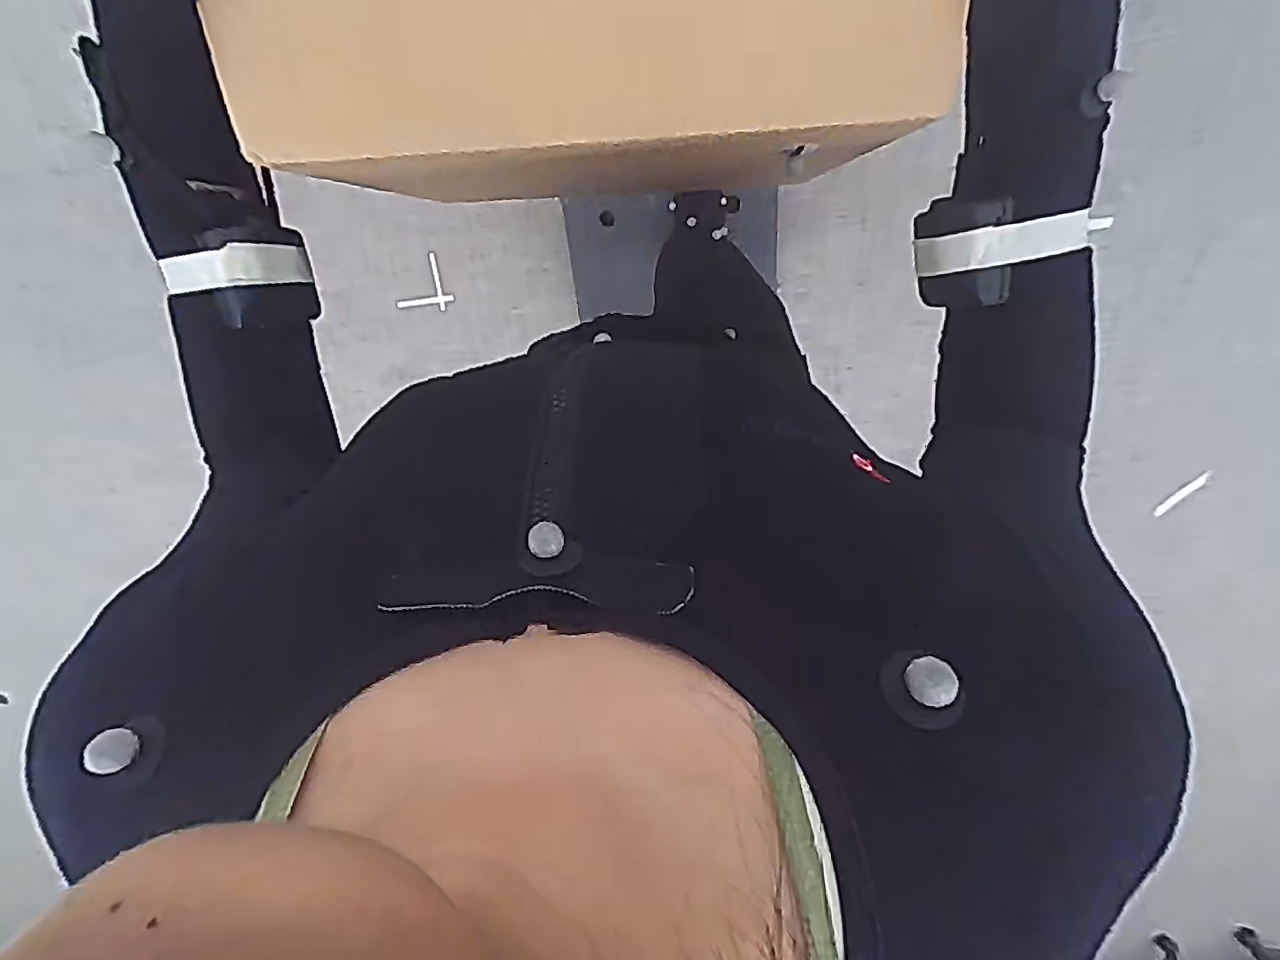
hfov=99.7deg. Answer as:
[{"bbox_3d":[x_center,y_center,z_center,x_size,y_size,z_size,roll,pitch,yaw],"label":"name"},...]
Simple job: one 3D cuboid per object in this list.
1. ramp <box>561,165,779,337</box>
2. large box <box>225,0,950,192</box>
[{"bbox_3d":[0.049,-0.813,1.133,0.509,0.206,0.991,-5,111,5],"label":"ramp"},{"bbox_3d":[-0.031,-0.406,0.395,0.408,0.320,0.320,-2,113,3],"label":"large box"}]
